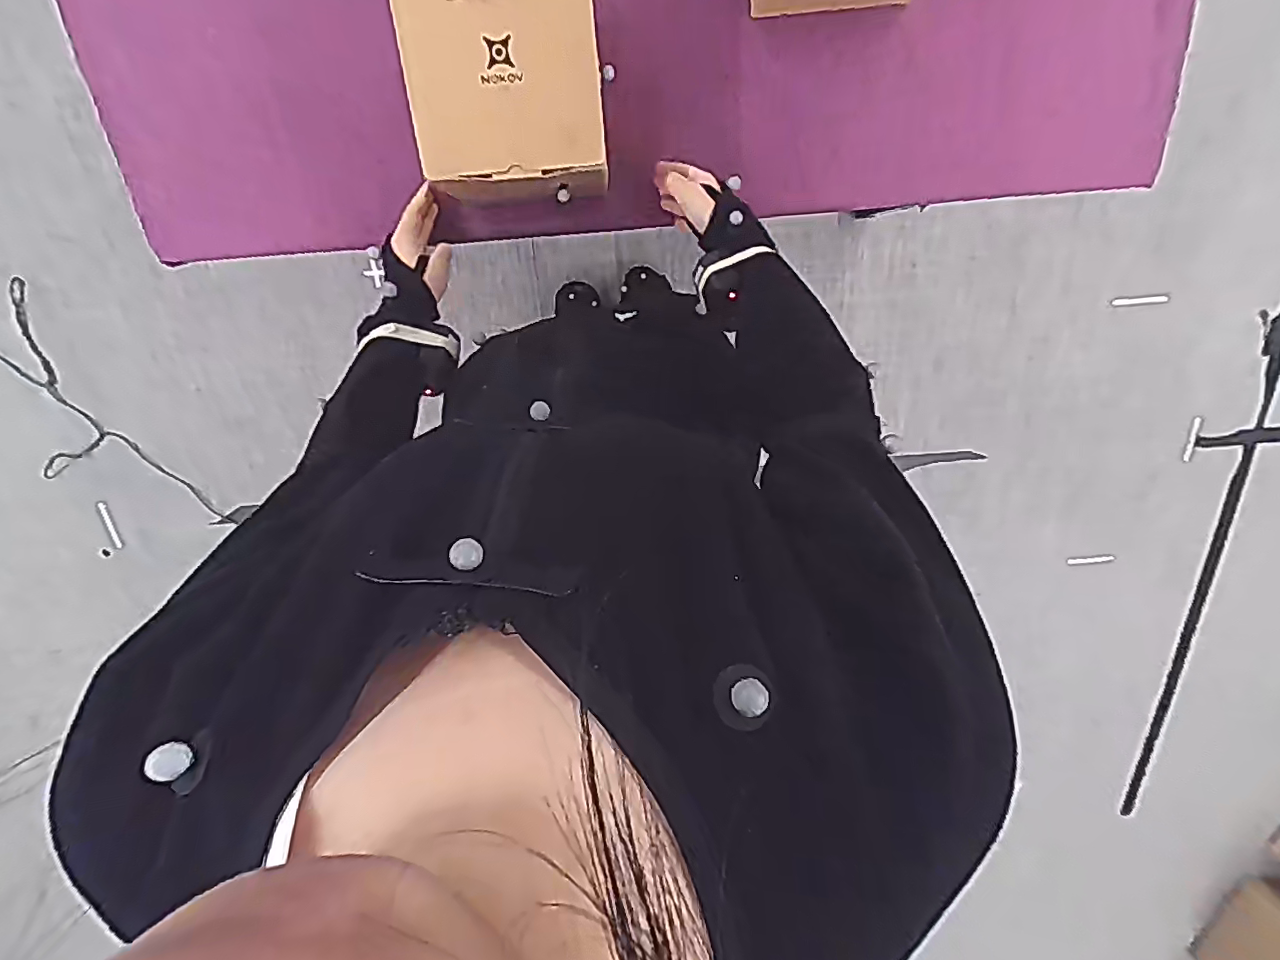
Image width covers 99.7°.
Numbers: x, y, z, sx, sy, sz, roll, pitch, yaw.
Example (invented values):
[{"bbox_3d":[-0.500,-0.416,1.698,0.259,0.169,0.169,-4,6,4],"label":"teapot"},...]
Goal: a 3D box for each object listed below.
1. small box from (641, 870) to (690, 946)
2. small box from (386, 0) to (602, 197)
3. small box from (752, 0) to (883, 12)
[{"bbox_3d":[0.096,1.646,2.092,0.168,0.176,0.179,-7,111,-1],"label":"small box"},{"bbox_3d":[-0.126,-0.385,0.528,0.168,0.176,0.179,-6,110,-3],"label":"small box"},{"bbox_3d":[0.203,-0.561,0.483,0.179,0.176,0.168,-6,110,-1],"label":"small box"}]
